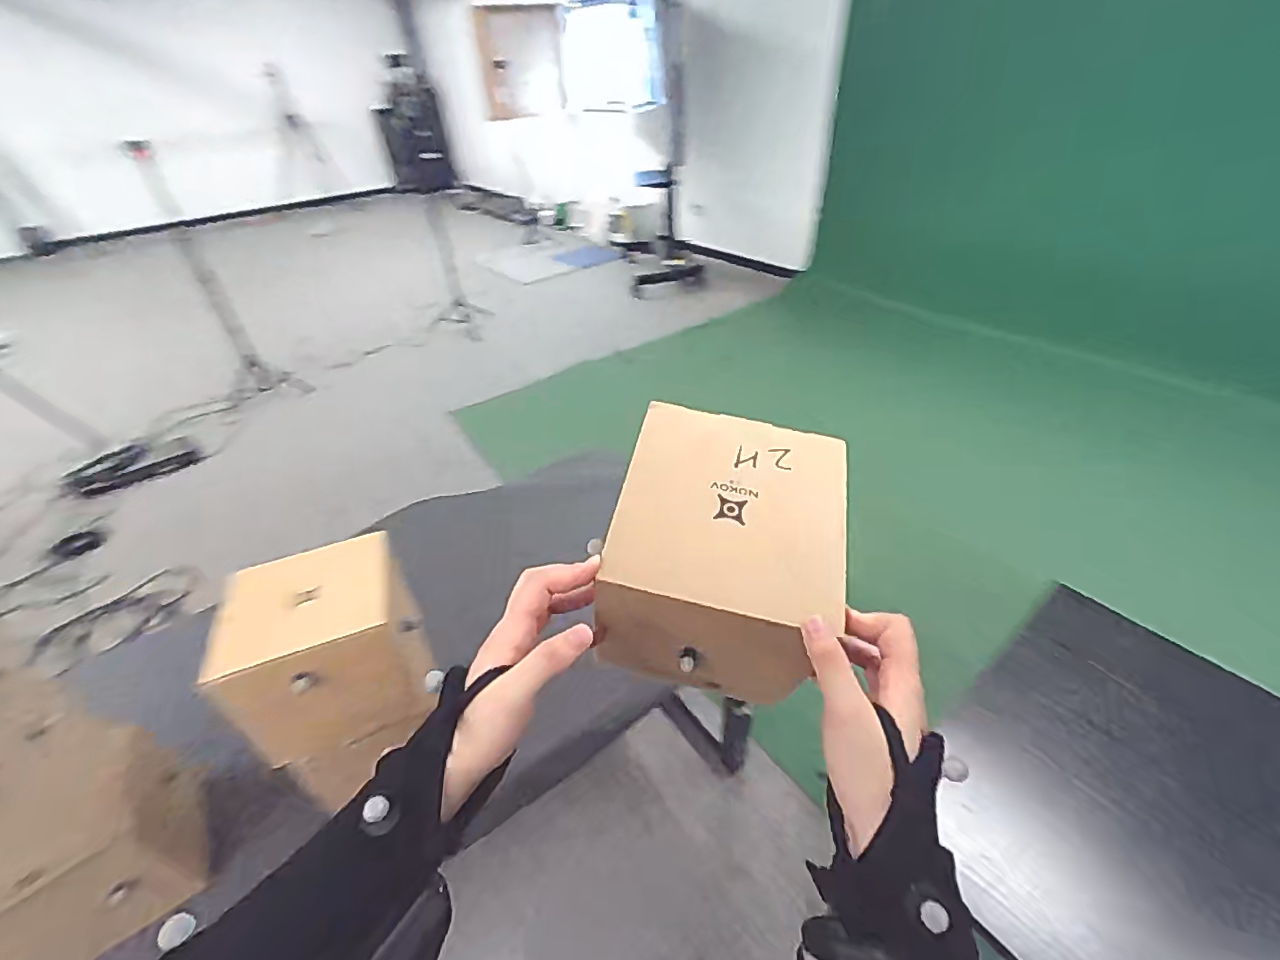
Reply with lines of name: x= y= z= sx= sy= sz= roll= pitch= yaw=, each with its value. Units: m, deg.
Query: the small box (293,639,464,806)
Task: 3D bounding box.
small box: x=-0.364 y=0.324 z=0.763 sx=0.168 sy=0.176 sz=0.179 roll=-21 pitch=40 yaw=-19

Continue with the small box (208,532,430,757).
small box: x=-0.367 y=0.197 z=0.659 sx=0.179 sy=0.176 sz=0.168 roll=-17 pitch=39 yaw=-14
